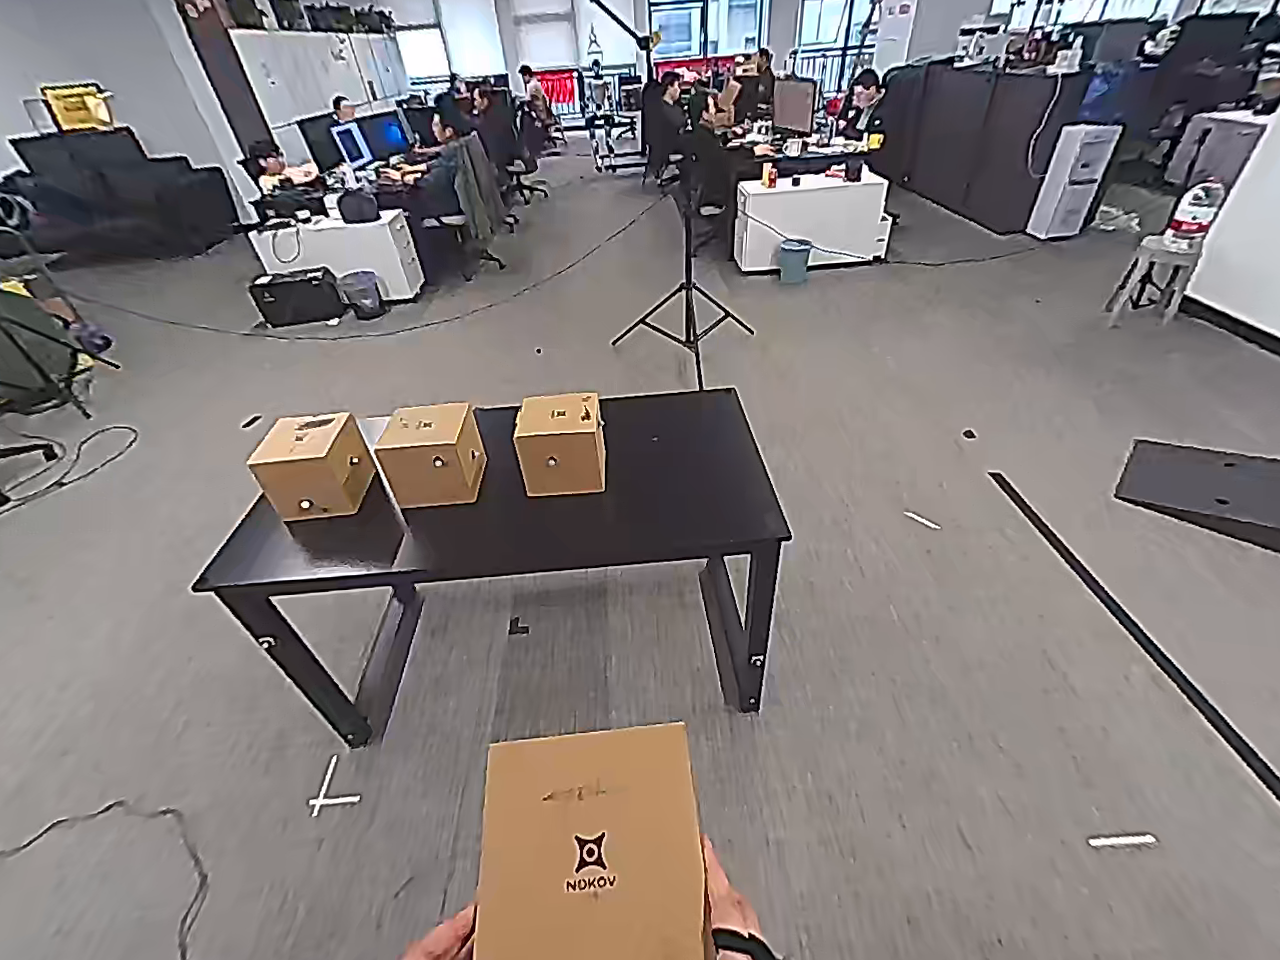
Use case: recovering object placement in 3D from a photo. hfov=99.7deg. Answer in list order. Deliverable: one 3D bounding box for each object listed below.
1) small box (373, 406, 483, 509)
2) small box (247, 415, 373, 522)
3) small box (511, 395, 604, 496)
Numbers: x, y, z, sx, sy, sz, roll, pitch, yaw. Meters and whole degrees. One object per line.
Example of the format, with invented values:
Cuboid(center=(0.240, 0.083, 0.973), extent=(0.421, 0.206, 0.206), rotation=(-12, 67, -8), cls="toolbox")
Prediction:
Cuboid(center=(-0.473, -0.051, 1.241), extent=(0.179, 0.176, 0.168), rotation=(-5, 38, -1), cls="small box")
Cuboid(center=(-0.739, -0.026, 1.238), extent=(0.168, 0.176, 0.179), rotation=(-6, 40, -2), cls="small box")
Cuboid(center=(-0.181, -0.076, 1.245), extent=(0.179, 0.176, 0.168), rotation=(-5, 39, 1), cls="small box")
